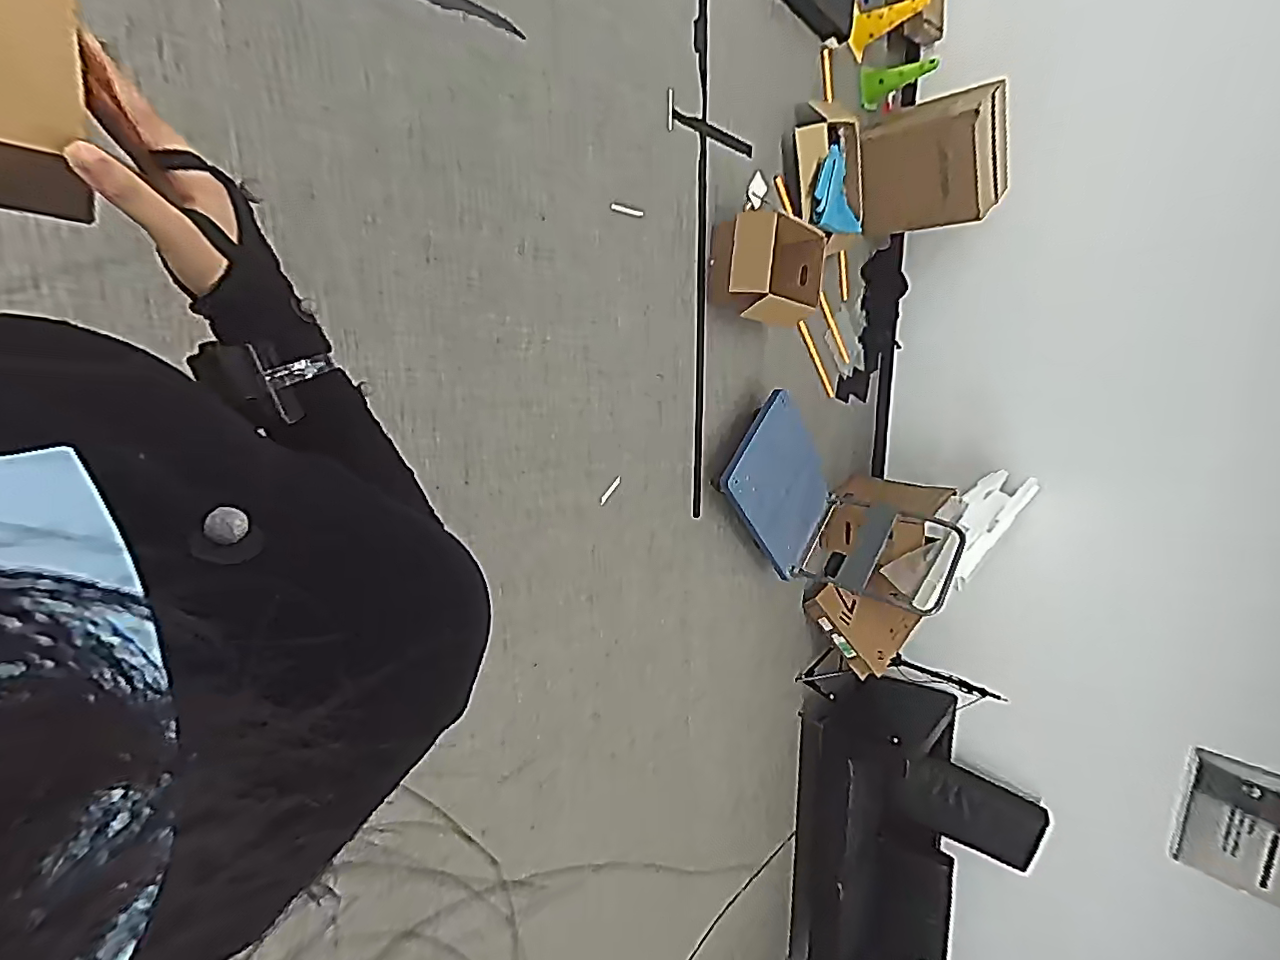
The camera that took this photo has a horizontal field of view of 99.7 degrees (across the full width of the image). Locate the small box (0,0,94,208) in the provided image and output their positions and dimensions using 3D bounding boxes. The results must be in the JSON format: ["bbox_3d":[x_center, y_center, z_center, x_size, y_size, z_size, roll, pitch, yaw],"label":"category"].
[{"bbox_3d":[-0.406,-0.266,0.280,0.168,0.176,0.179,-5,100,-45],"label":"small box"}]
